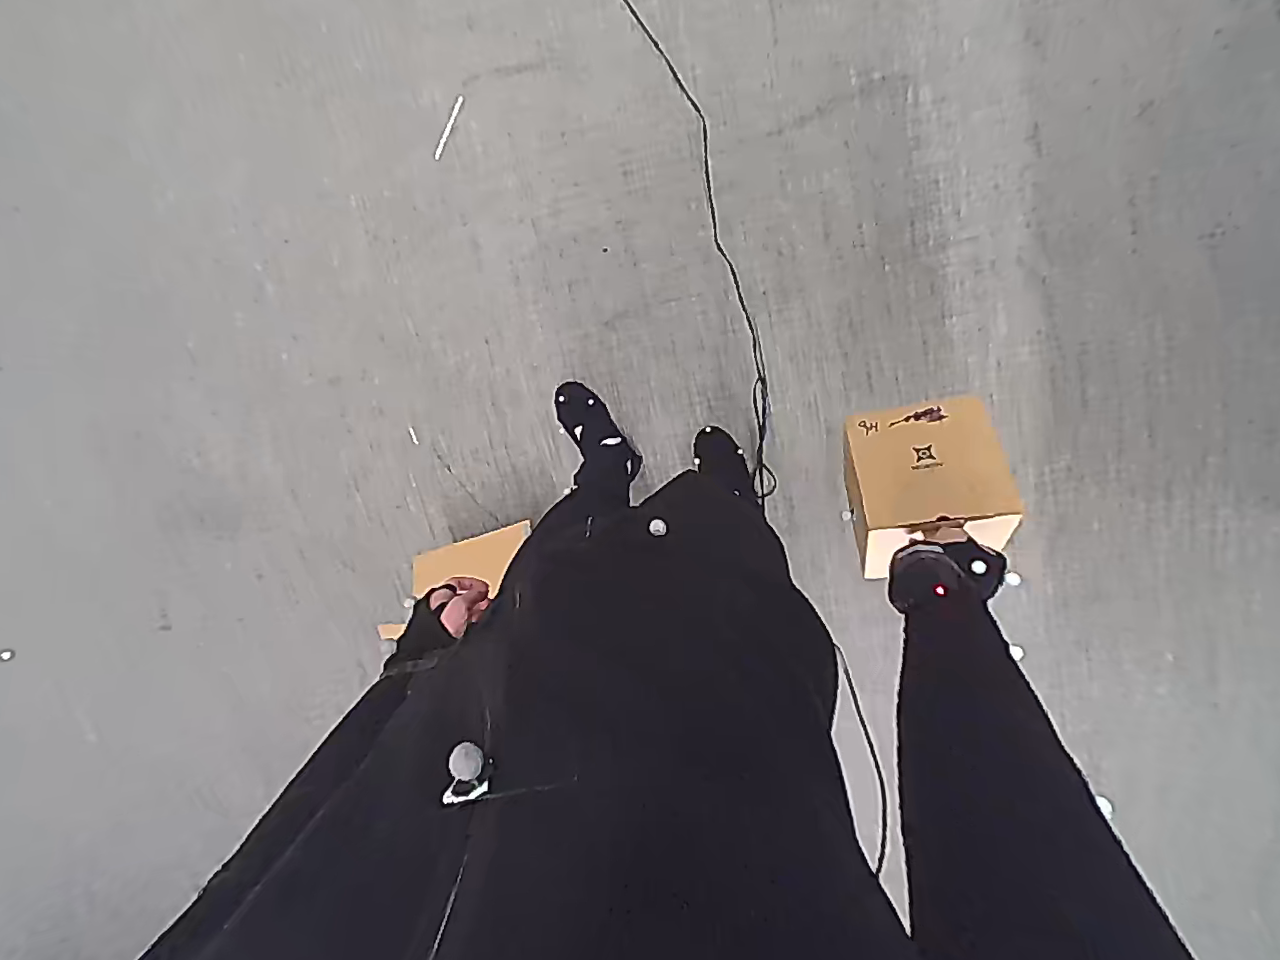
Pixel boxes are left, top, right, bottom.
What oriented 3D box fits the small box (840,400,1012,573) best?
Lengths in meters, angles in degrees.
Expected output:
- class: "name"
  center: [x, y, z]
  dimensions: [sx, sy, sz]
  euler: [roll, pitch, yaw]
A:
- class: "small box"
  center: [0.372, 0.021, 0.738]
  dimensions: [0.168, 0.179, 0.176]
  euler: [-7, 148, 16]
